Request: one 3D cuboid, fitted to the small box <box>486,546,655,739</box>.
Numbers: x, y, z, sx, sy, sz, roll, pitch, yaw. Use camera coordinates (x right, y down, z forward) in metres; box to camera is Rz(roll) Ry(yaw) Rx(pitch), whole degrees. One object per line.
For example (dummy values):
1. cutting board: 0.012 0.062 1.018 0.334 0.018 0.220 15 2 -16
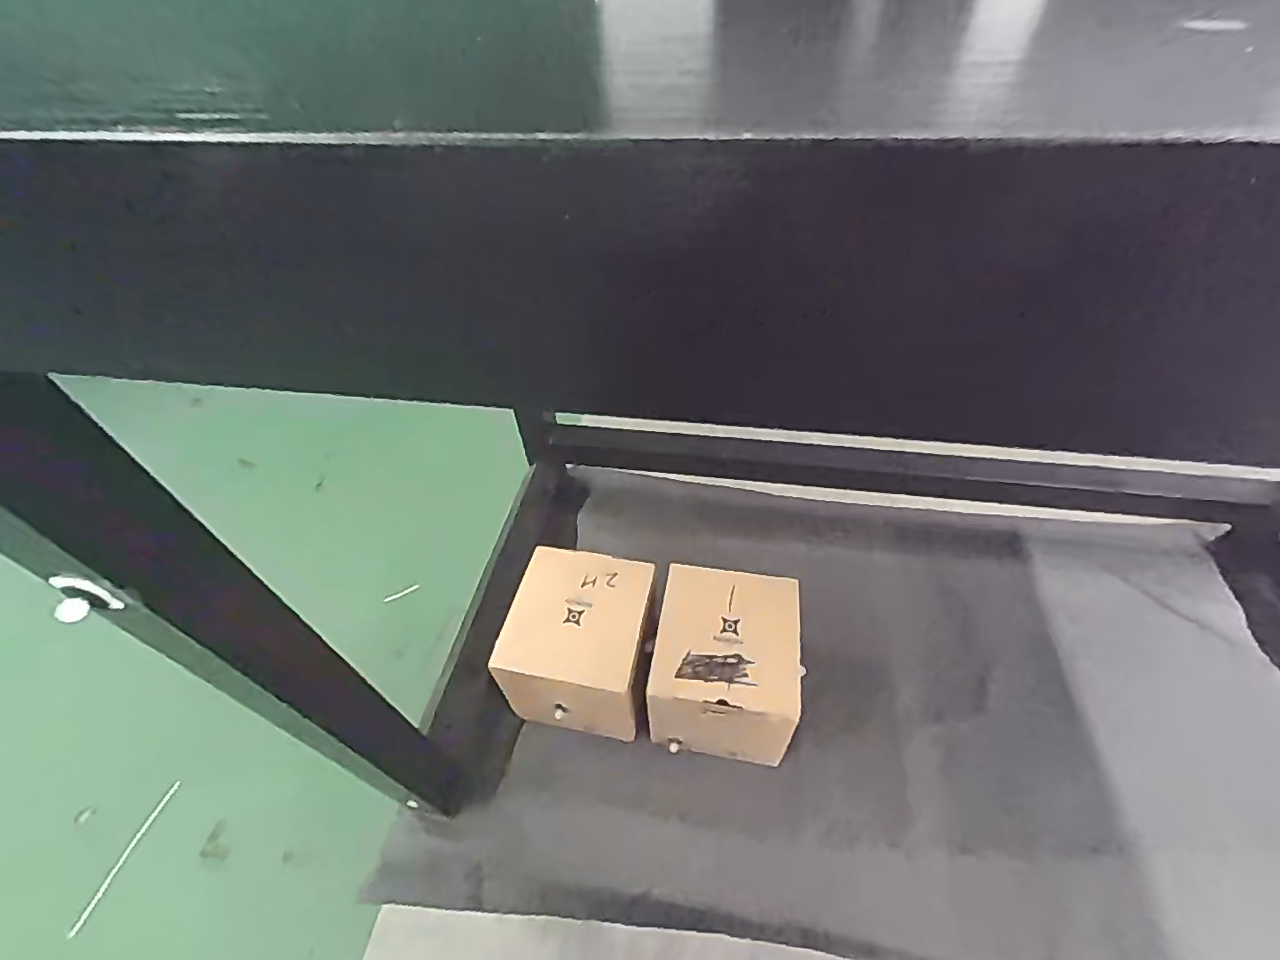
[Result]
1. small box: -0.075 0.215 0.711 0.168 0.176 0.179 8 48 10
